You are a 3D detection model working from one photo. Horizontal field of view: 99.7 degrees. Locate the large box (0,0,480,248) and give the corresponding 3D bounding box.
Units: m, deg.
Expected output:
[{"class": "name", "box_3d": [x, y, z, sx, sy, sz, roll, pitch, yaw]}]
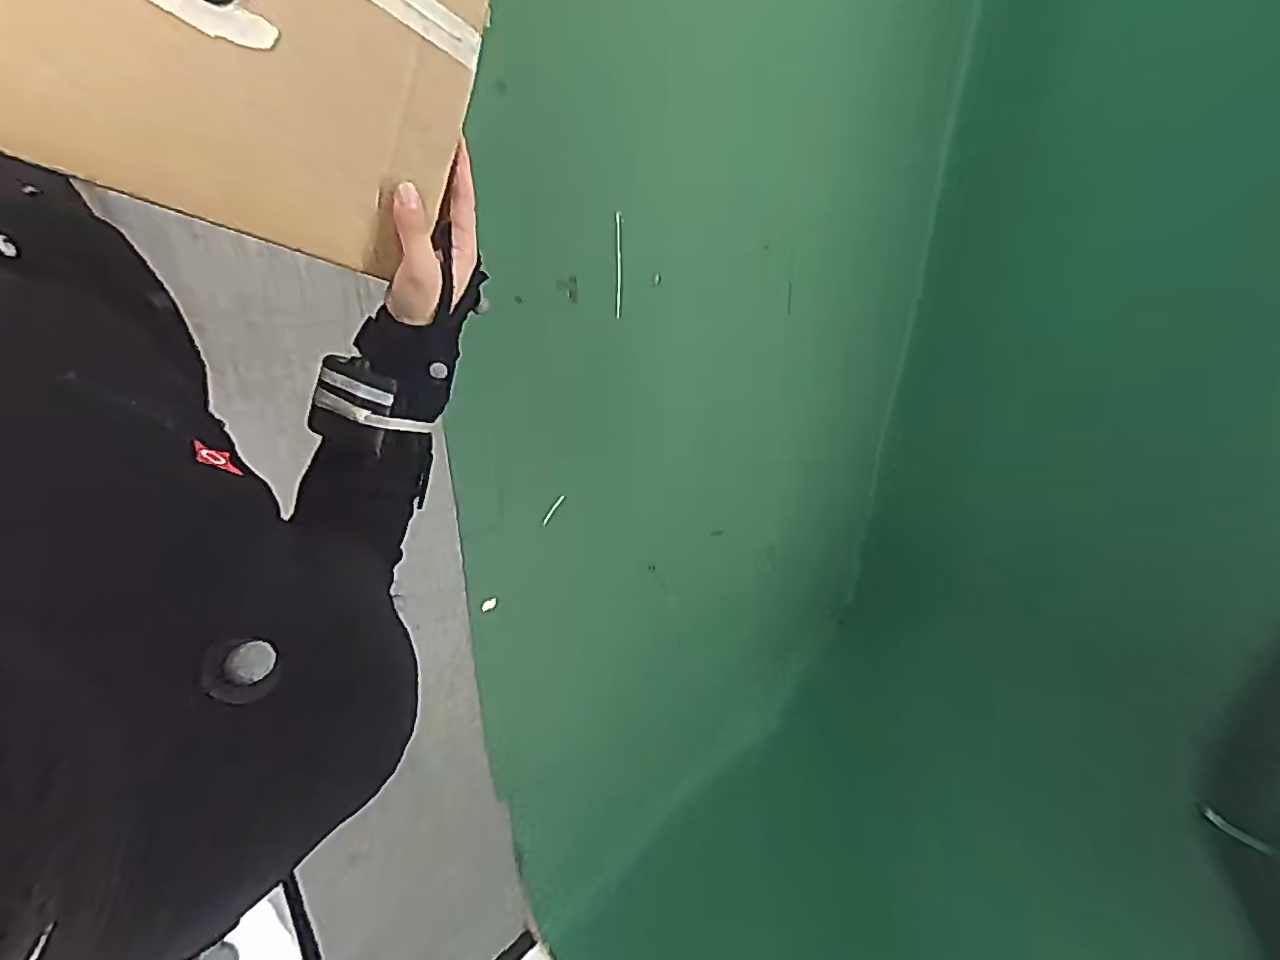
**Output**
[{"class": "large box", "box_3d": [-0.342, -0.376, 0.302, 0.408, 0.320, 0.320, 4, 114, -49]}]
